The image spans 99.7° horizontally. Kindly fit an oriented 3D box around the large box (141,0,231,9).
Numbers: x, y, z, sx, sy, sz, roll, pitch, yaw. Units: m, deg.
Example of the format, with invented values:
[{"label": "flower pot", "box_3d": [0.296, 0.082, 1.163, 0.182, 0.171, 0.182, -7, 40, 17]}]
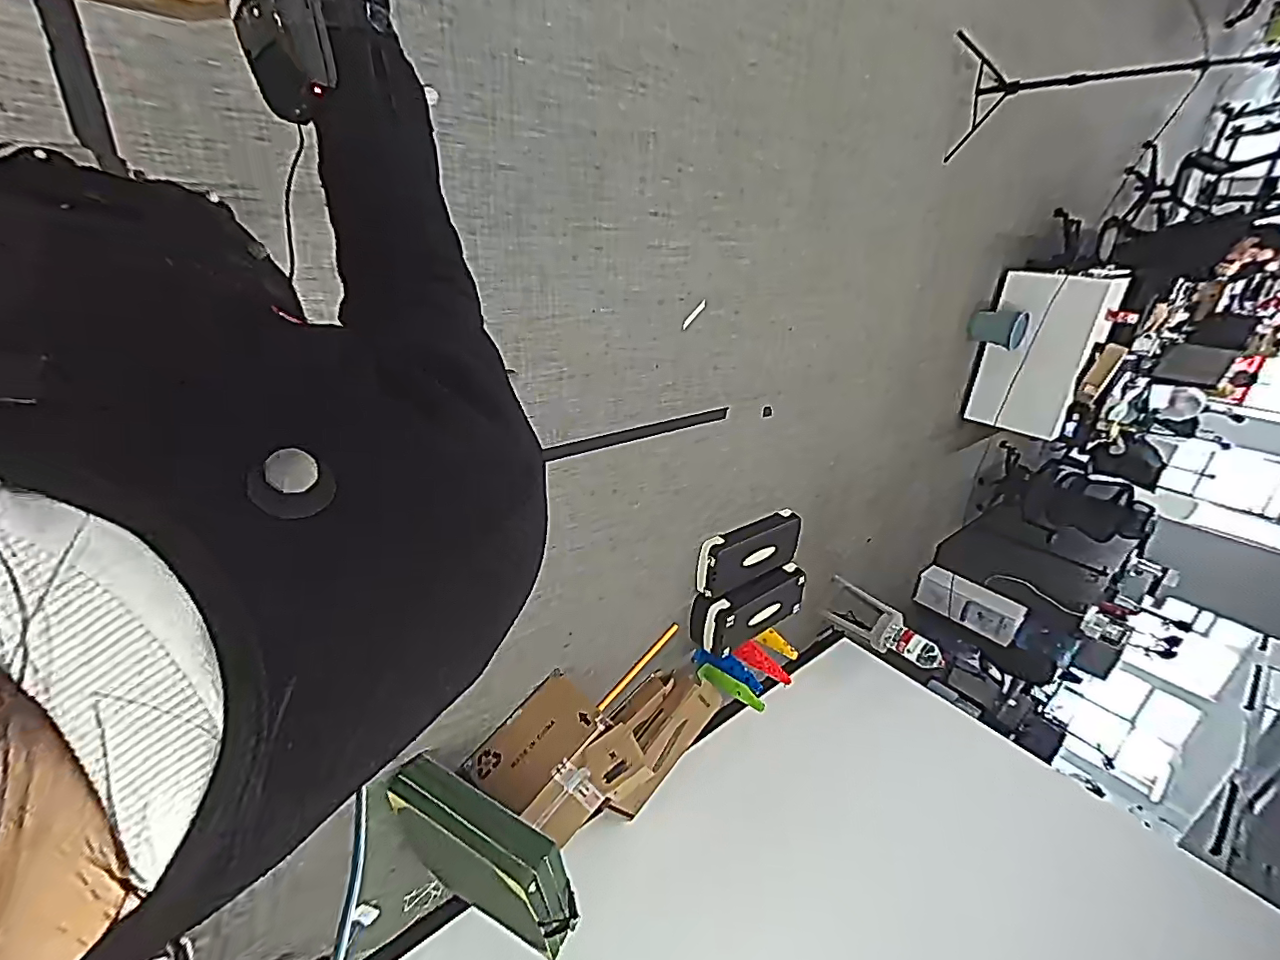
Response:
[{"label": "large box", "box_3d": [-0.460, -0.450, 0.232, 0.408, 0.320, 0.320, -19, 134, -37]}]
